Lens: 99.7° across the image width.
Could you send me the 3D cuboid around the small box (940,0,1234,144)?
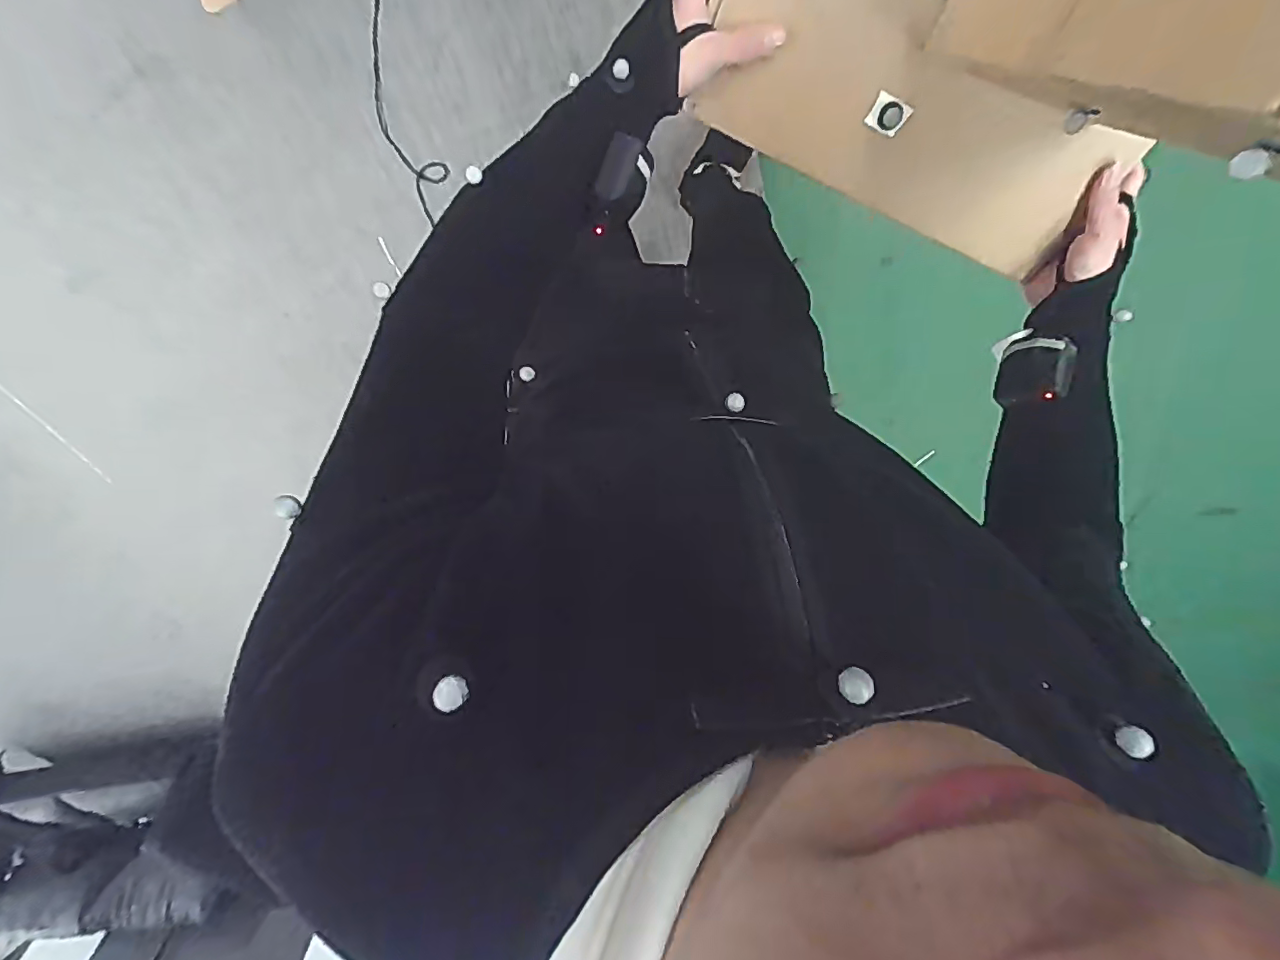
[{"bbox_3d":[0.330,-0.337,0.334,0.179,0.176,0.168,14,131,-9],"label":"small box"}]
